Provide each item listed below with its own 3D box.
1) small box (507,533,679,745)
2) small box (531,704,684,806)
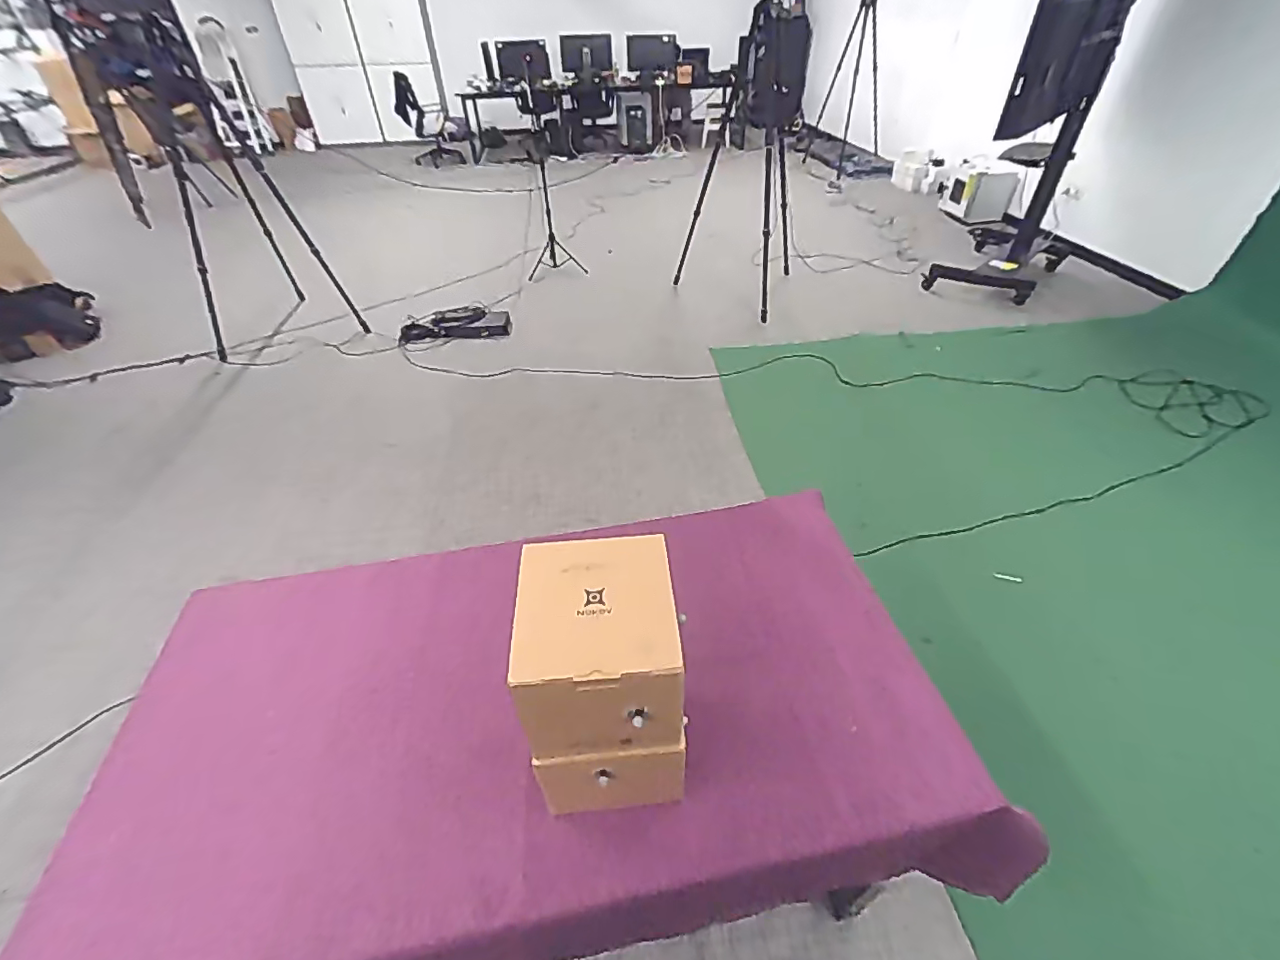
[{"bbox_3d":[-0.045,0.185,0.619,0.168,0.176,0.179,-4,41,-2],"label":"small box"},{"bbox_3d":[-0.038,0.313,0.720,0.179,0.176,0.168,-5,42,-2],"label":"small box"}]
